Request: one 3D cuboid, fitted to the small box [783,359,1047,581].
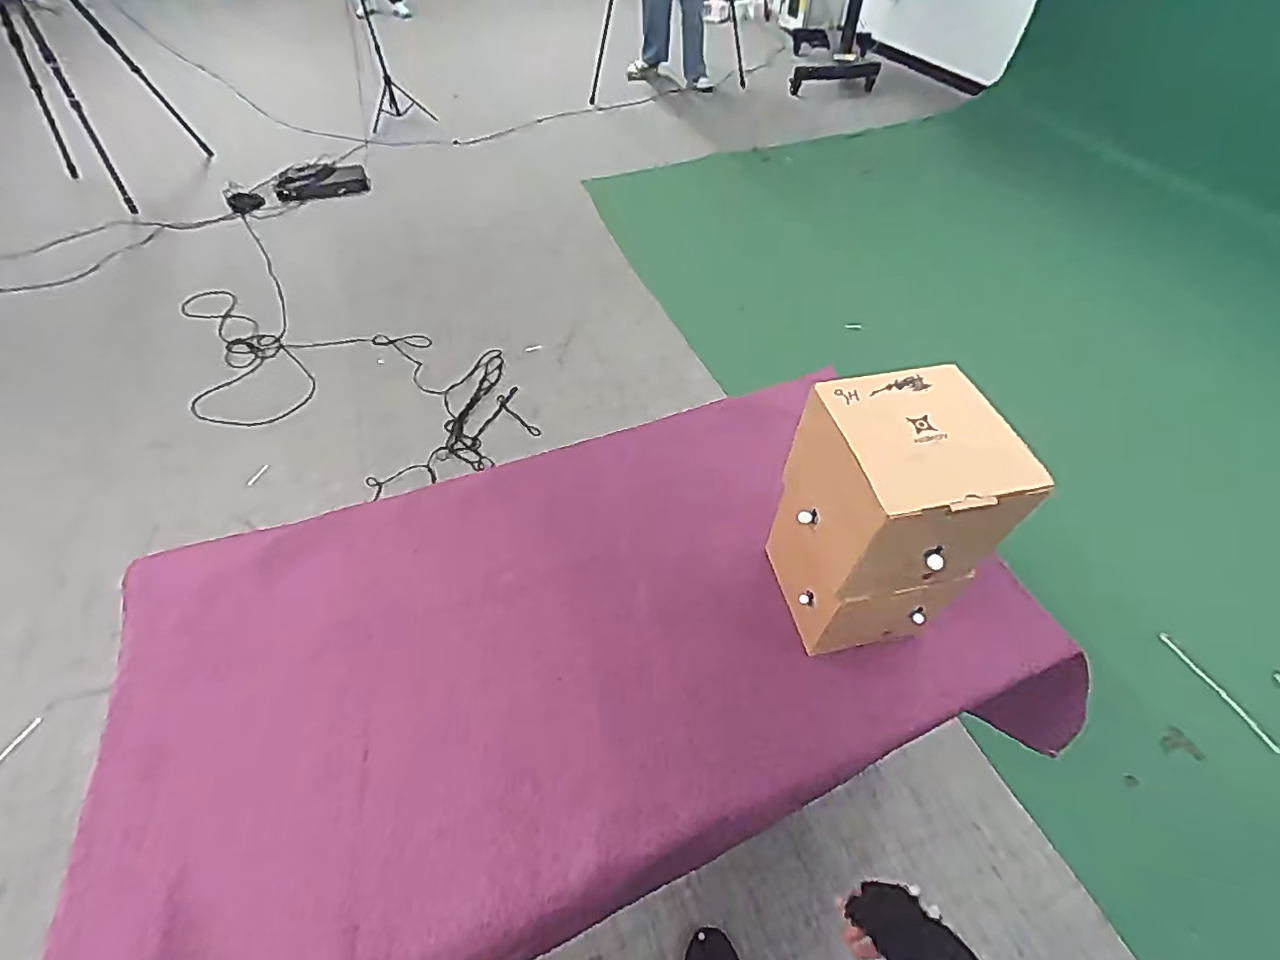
[{"bbox_3d":[0.275,-0.003,0.591,0.168,0.176,0.179,-8,54,-7],"label":"small box"}]

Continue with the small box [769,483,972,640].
[{"bbox_3d":[0.287,0.098,0.720,0.168,0.176,0.179,-10,53,-6],"label":"small box"}]
